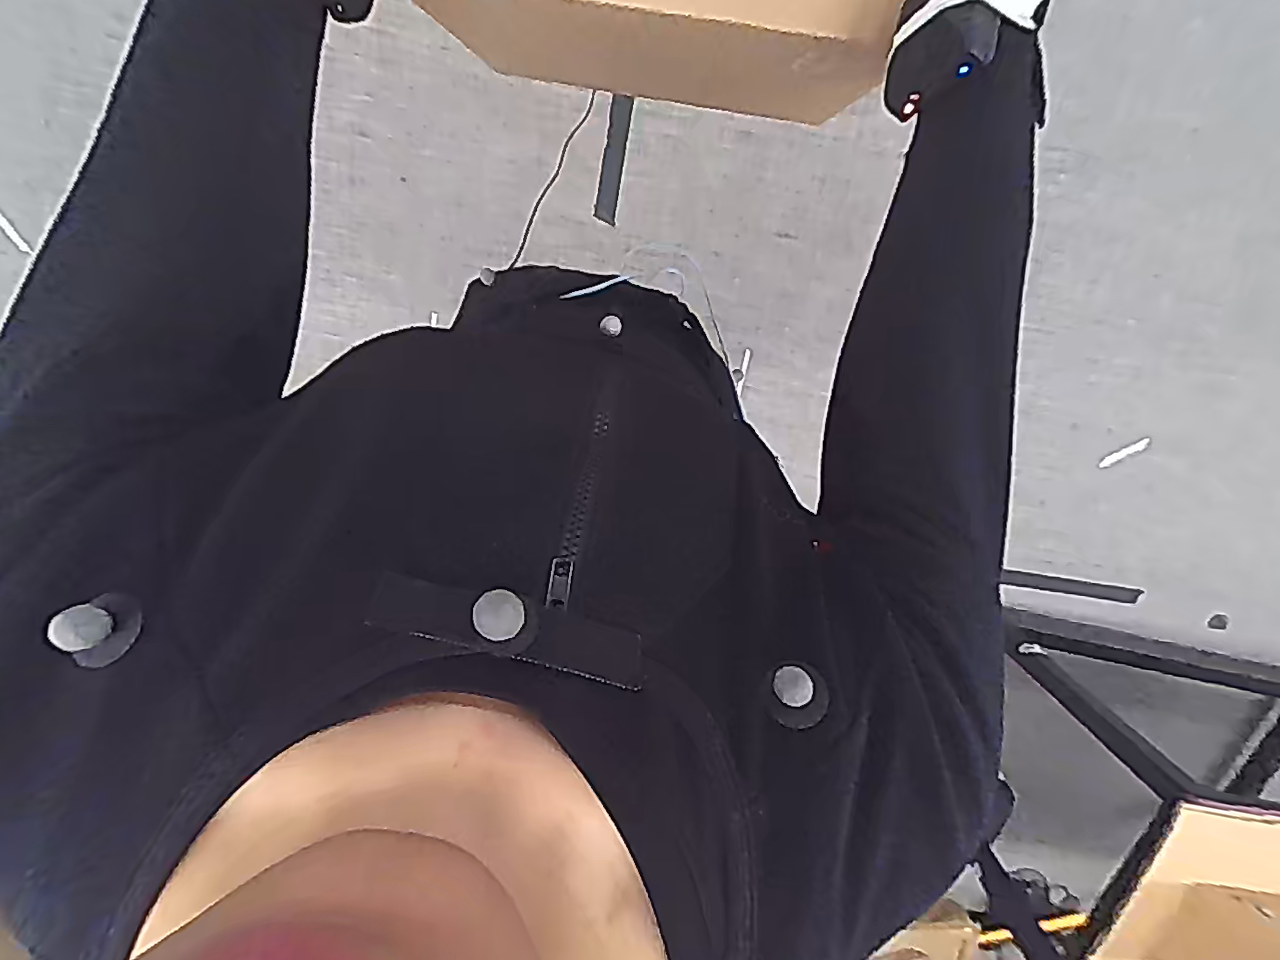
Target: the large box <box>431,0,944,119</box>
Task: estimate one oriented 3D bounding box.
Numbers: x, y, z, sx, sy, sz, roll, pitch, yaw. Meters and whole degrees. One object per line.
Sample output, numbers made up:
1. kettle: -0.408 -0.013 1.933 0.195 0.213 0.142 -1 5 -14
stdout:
1. large box: 0.040 -0.539 0.458 0.408 0.320 0.320 9 116 -1
